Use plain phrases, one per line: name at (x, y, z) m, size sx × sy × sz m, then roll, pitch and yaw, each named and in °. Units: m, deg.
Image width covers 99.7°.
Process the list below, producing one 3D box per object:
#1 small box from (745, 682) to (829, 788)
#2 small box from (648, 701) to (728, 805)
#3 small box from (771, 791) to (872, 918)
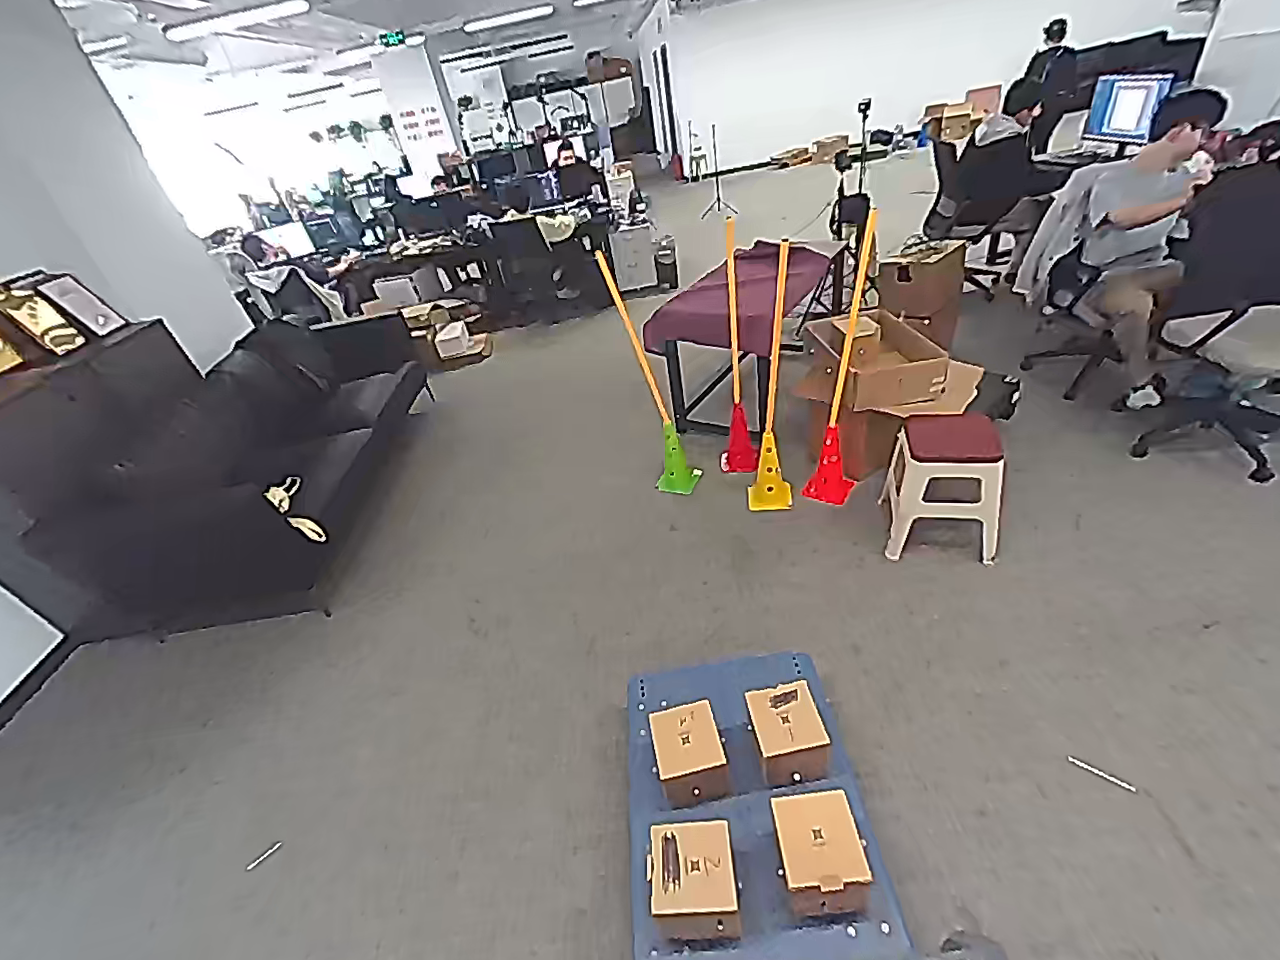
small box at (0.376, 0.662, 1.403) m, size 0.168 × 0.176 × 0.179 m, roll -13°, pitch 36°, yaw 1°
small box at (0.126, 0.715, 1.405) m, size 0.168 × 0.176 × 0.179 m, roll -13°, pitch 36°, yaw -2°
small box at (0.388, 0.820, 1.186) m, size 0.168 × 0.176 × 0.179 m, roll -10°, pitch 36°, yaw 4°
